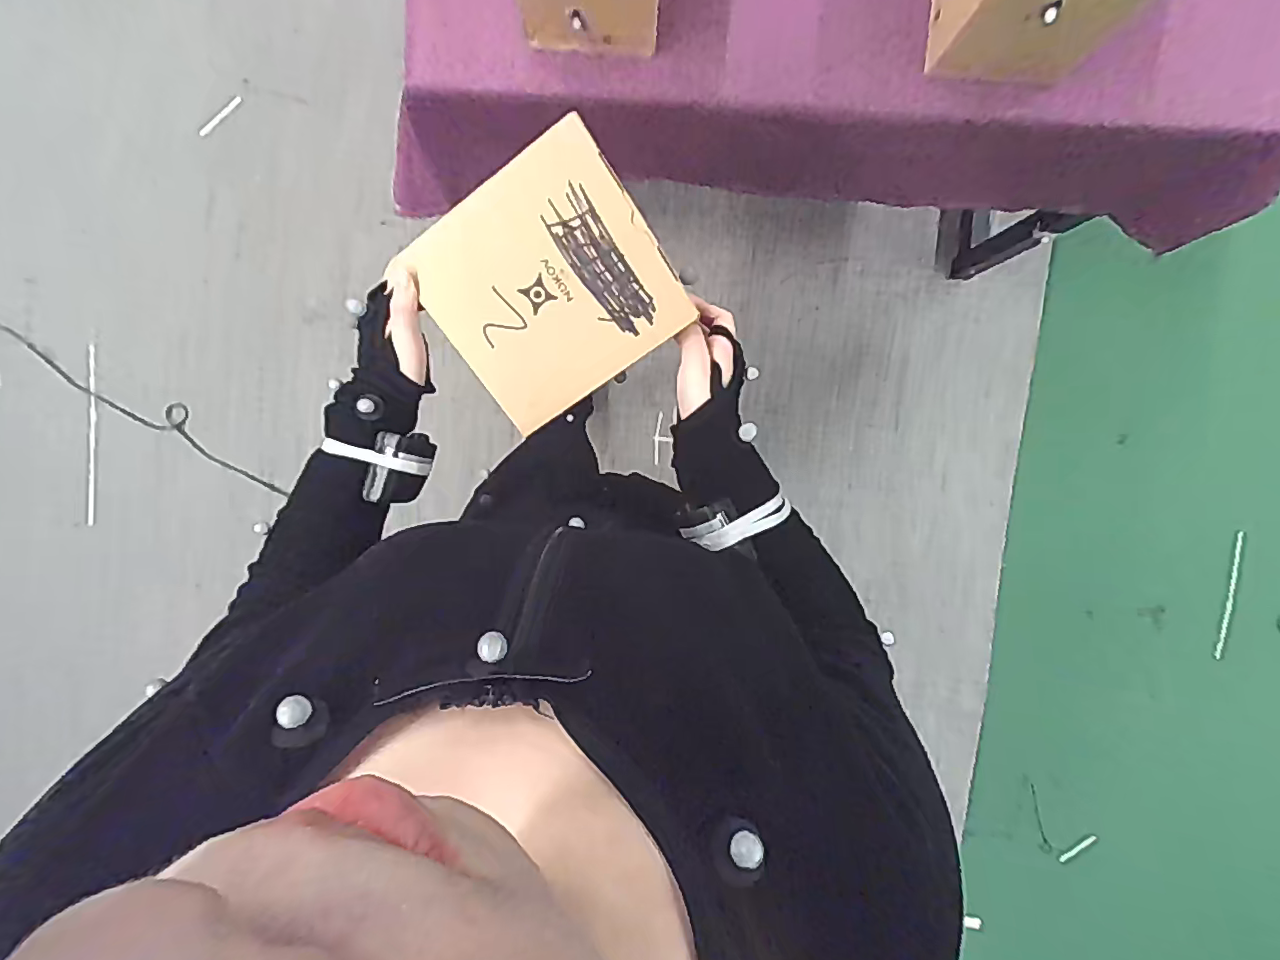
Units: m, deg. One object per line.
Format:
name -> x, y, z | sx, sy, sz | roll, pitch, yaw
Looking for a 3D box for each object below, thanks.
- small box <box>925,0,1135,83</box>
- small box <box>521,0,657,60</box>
small box -> 0.463, -0.603, 0.631 | 0.179, 0.176, 0.168 | 4, 95, -1
small box -> -0.057, -0.639, 0.623 | 0.168, 0.176, 0.179 | 4, 95, -1
